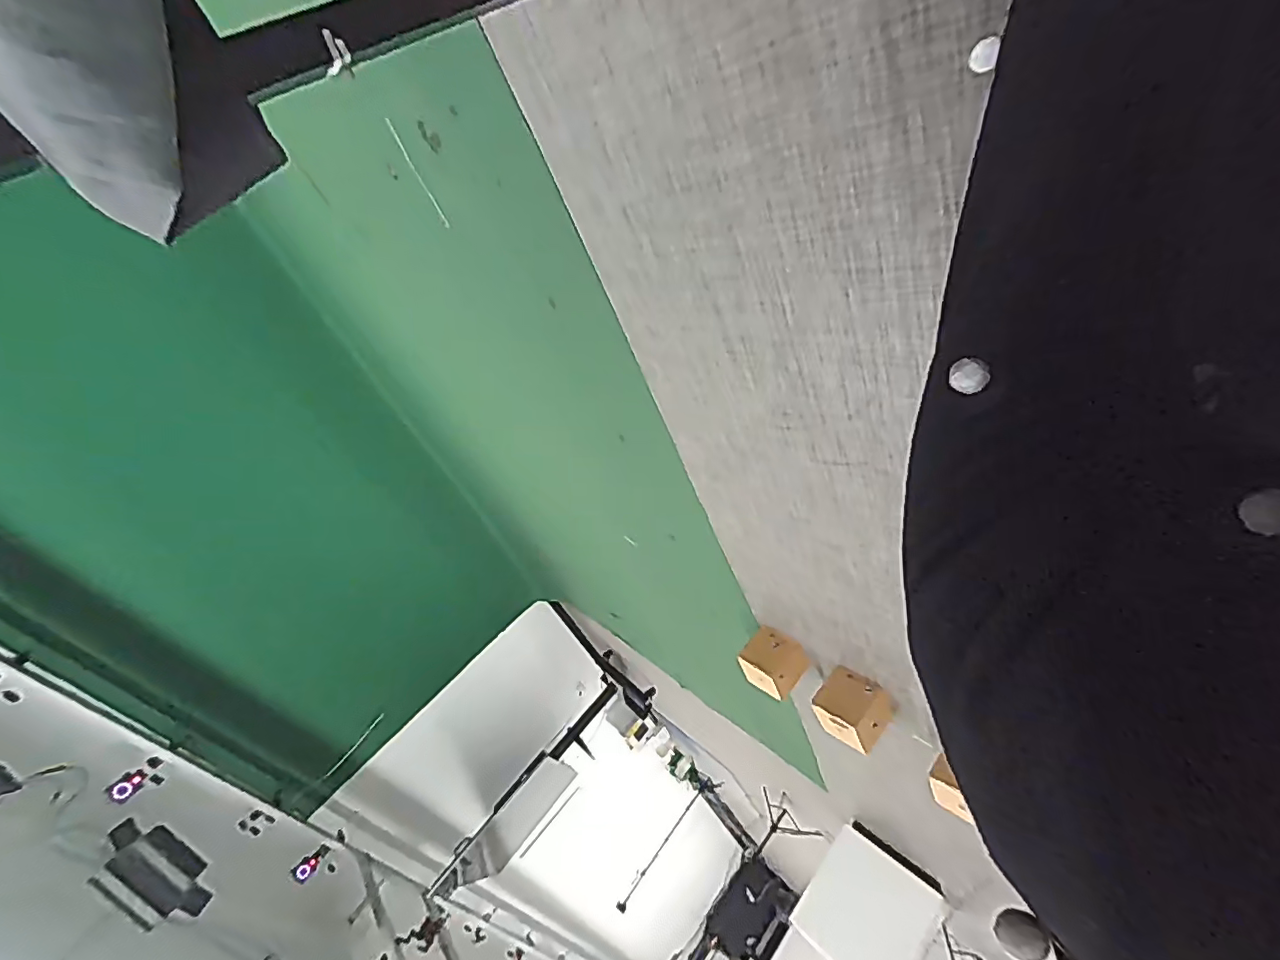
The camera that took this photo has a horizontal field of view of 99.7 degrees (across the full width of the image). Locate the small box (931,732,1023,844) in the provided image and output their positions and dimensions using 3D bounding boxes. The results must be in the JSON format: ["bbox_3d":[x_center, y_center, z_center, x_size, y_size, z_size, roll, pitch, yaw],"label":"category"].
[{"bbox_3d":[0.932,0.842,1.490,0.168,0.176,0.179,16,141,49],"label":"small box"}]

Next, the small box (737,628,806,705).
[{"bbox_3d":[0.496,0.690,2.015,0.168,0.176,0.179,19,144,47],"label":"small box"}]

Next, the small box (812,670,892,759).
[{"bbox_3d":[0.698,0.761,1.772,0.168,0.176,0.179,15,142,52],"label":"small box"}]
